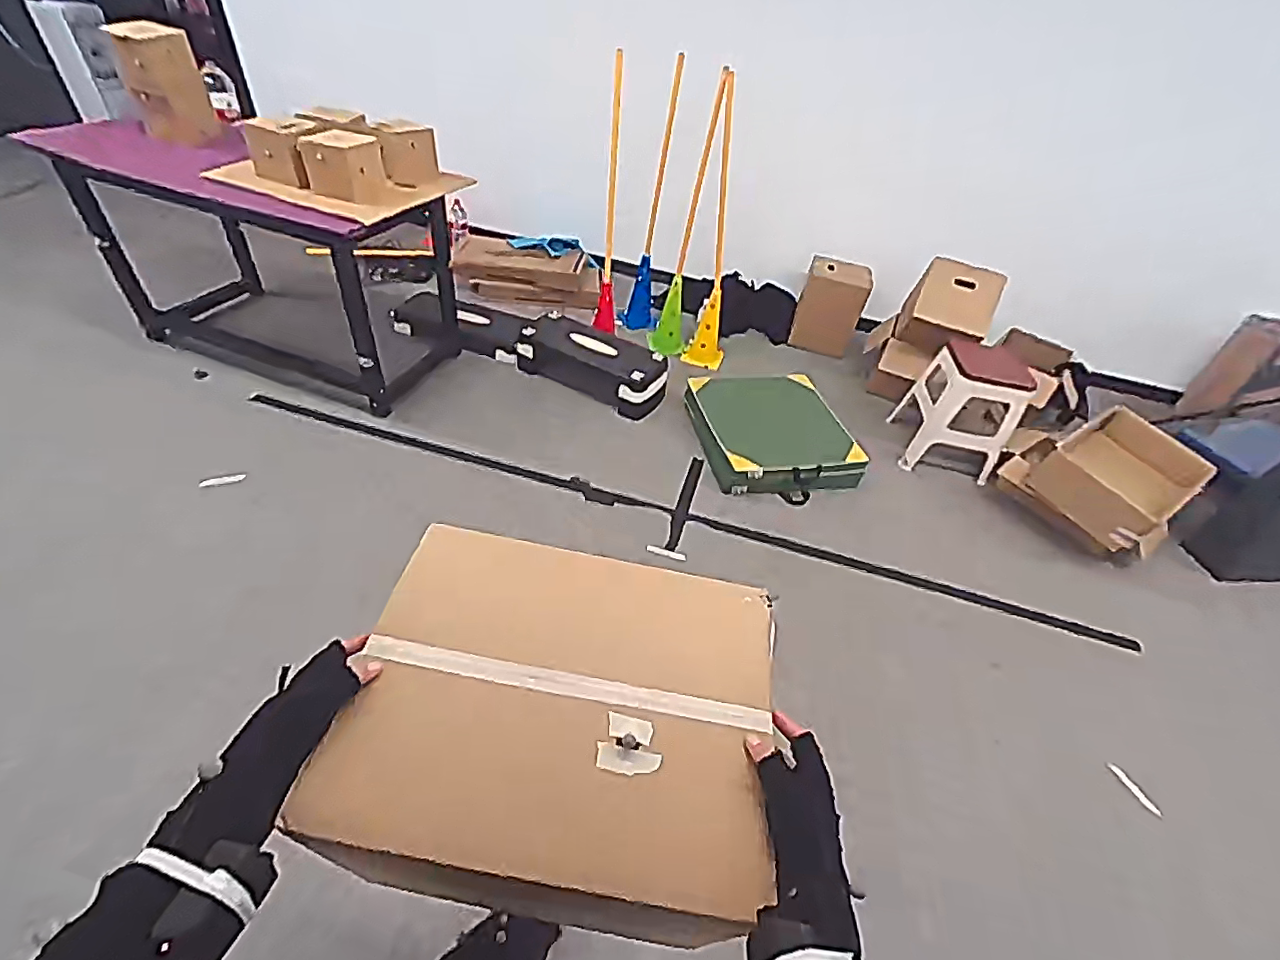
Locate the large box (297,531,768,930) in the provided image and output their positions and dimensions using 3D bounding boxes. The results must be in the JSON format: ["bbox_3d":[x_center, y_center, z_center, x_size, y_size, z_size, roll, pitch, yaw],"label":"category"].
[{"bbox_3d":[-0.092,0.306,0.652,0.408,0.320,0.320,12,48,-1],"label":"large box"}]
